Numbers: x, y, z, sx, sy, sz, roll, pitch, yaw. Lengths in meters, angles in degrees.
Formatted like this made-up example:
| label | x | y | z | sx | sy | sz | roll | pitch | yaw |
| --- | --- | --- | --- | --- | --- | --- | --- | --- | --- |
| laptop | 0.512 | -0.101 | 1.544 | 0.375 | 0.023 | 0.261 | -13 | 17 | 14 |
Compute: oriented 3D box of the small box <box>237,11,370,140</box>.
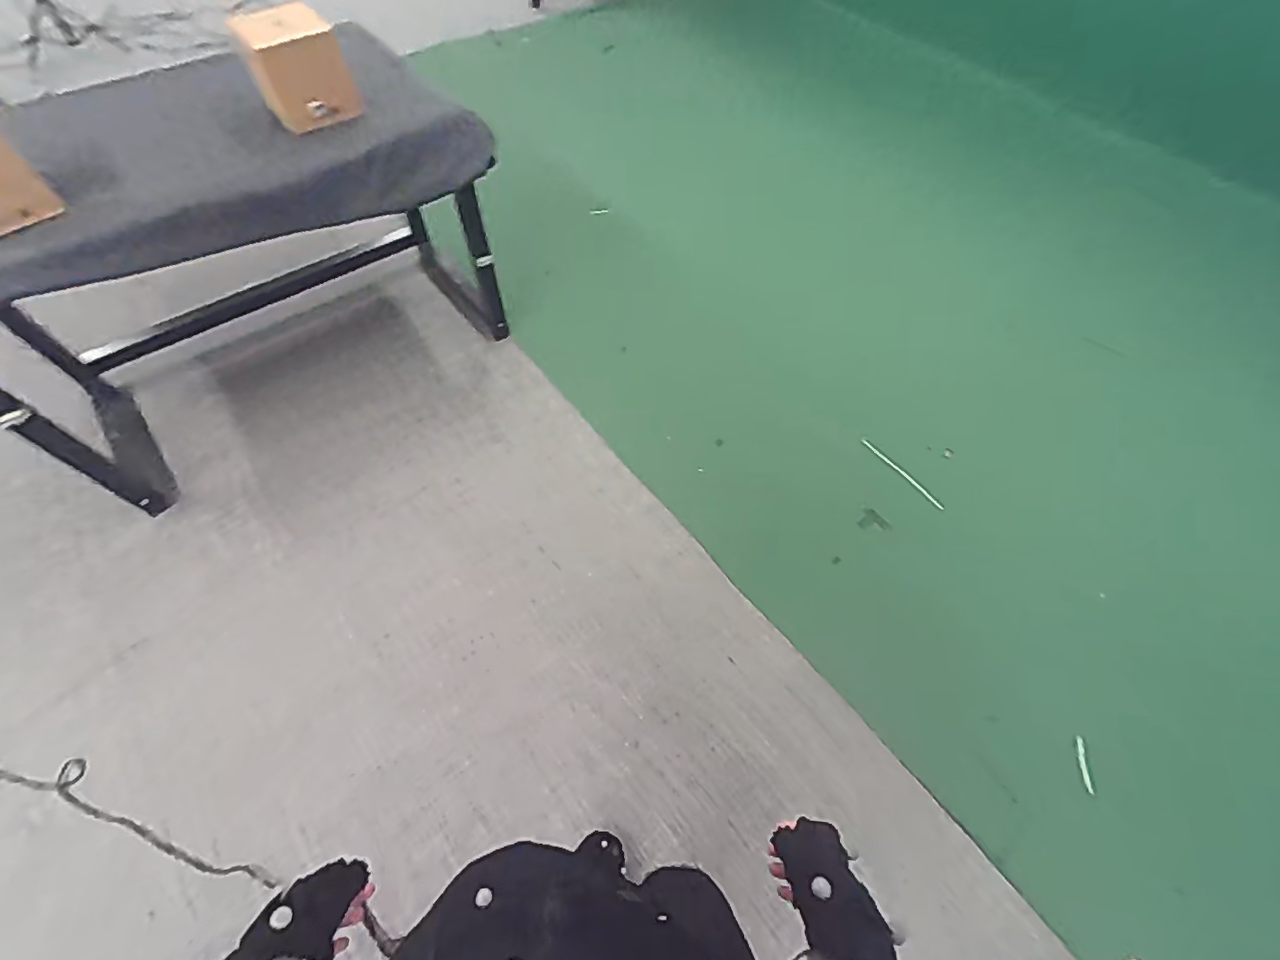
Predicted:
| label | x | y | z | sx | sy | sz | roll | pitch | yaw |
| --- | --- | --- | --- | --- | --- | --- | --- | --- | --- |
| small box | -0.746 | -0.903 | 1.213 | 0.168 | 0.176 | 0.179 | -35 | 66 | -19 |

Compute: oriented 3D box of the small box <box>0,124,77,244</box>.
| label | x | y | z | sx | sy | sz | roll | pitch | yaw |
| --- | --- | --- | --- | --- | --- | --- | --- | --- | --- |
| small box | -1.206 | -0.560 | 0.984 | 0.179 | 0.176 | 0.168 | 38 | 65 | 22 |
